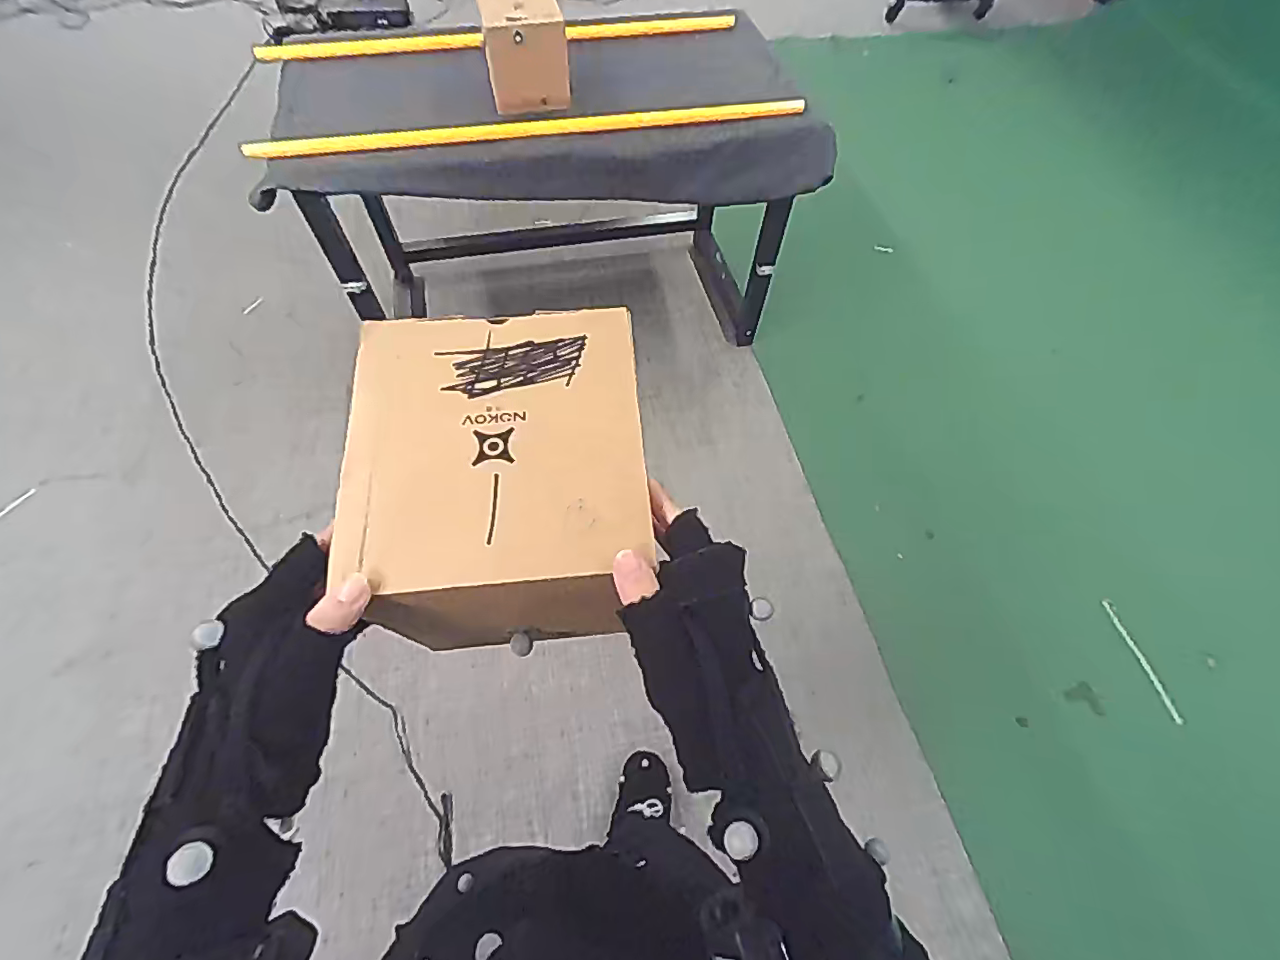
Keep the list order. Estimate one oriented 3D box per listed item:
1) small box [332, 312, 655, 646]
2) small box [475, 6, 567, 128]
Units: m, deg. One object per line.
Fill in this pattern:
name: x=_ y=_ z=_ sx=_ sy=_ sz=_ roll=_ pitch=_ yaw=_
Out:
small box: x=-0.083 y=0.008 z=0.383 sx=0.168 sy=0.176 sz=0.179 roll=-5 pitch=64 yaw=-3
small box: x=-0.265 y=-0.928 z=1.220 sx=0.168 sy=0.176 sz=0.179 roll=-12 pitch=60 yaw=-9
